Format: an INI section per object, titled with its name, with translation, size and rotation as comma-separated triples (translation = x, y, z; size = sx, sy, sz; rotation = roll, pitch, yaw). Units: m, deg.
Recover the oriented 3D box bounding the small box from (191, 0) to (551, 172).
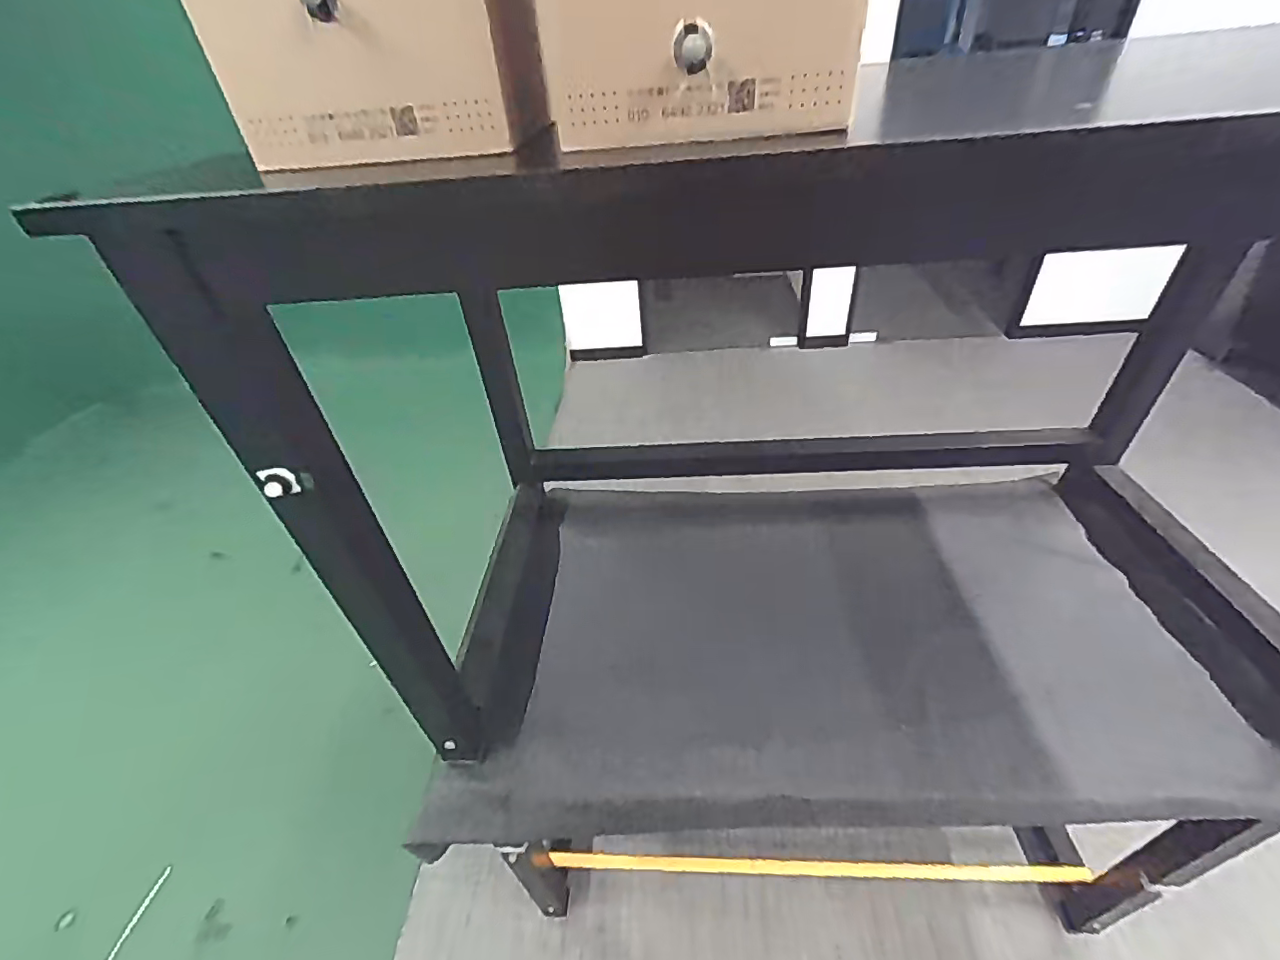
[small box]
translation = -0.162, -0.310, 0.356
size = 0.168, 0.176, 0.179
rotation = -1, 38, 4
